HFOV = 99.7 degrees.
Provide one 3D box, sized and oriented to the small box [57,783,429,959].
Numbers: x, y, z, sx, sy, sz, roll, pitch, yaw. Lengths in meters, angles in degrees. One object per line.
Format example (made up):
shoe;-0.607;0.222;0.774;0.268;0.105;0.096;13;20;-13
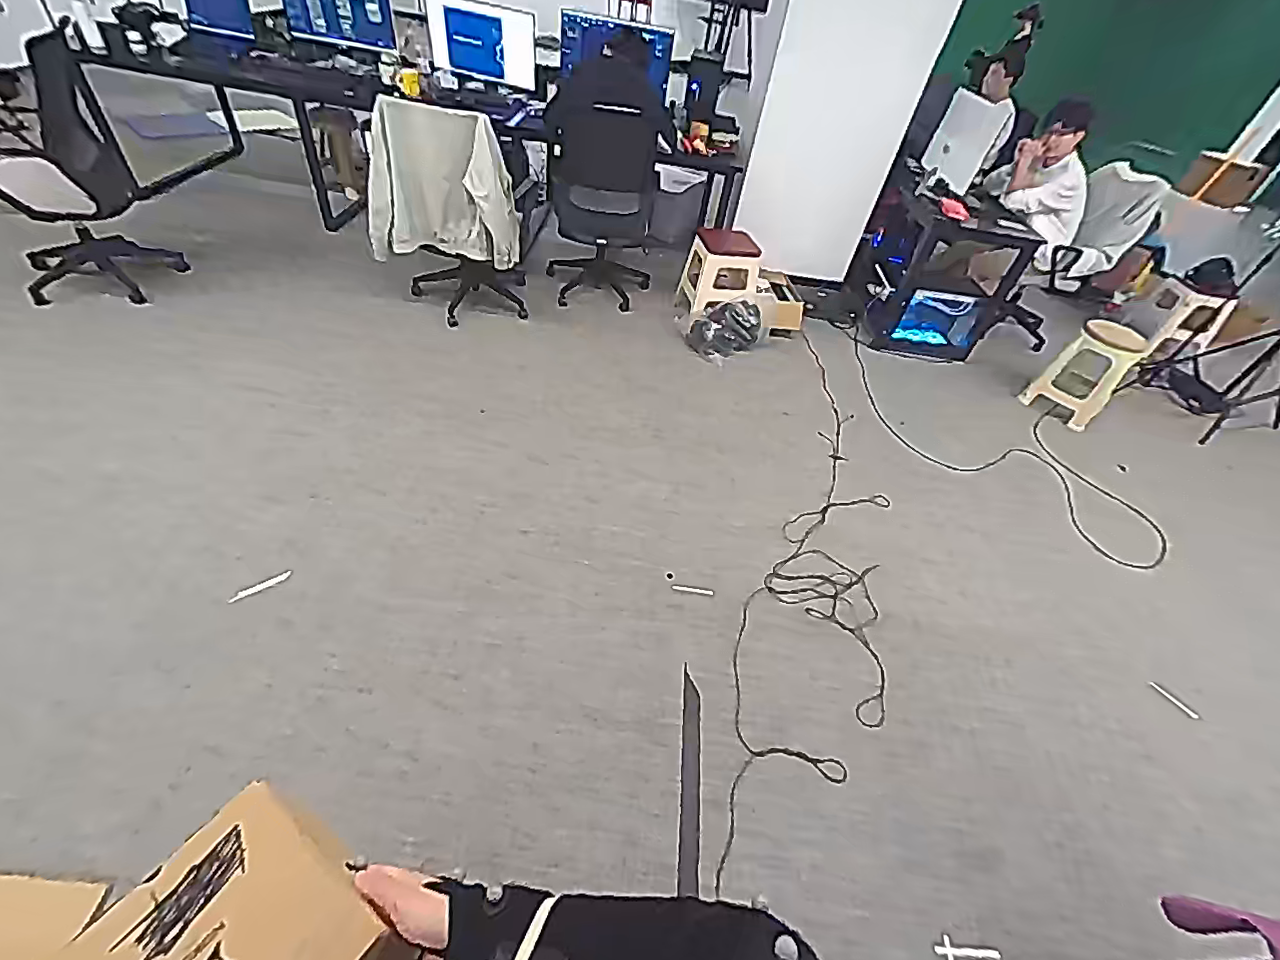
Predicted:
small box;-0.305;0.397;0.438;0.179;0.176;0.168;29;51;23
